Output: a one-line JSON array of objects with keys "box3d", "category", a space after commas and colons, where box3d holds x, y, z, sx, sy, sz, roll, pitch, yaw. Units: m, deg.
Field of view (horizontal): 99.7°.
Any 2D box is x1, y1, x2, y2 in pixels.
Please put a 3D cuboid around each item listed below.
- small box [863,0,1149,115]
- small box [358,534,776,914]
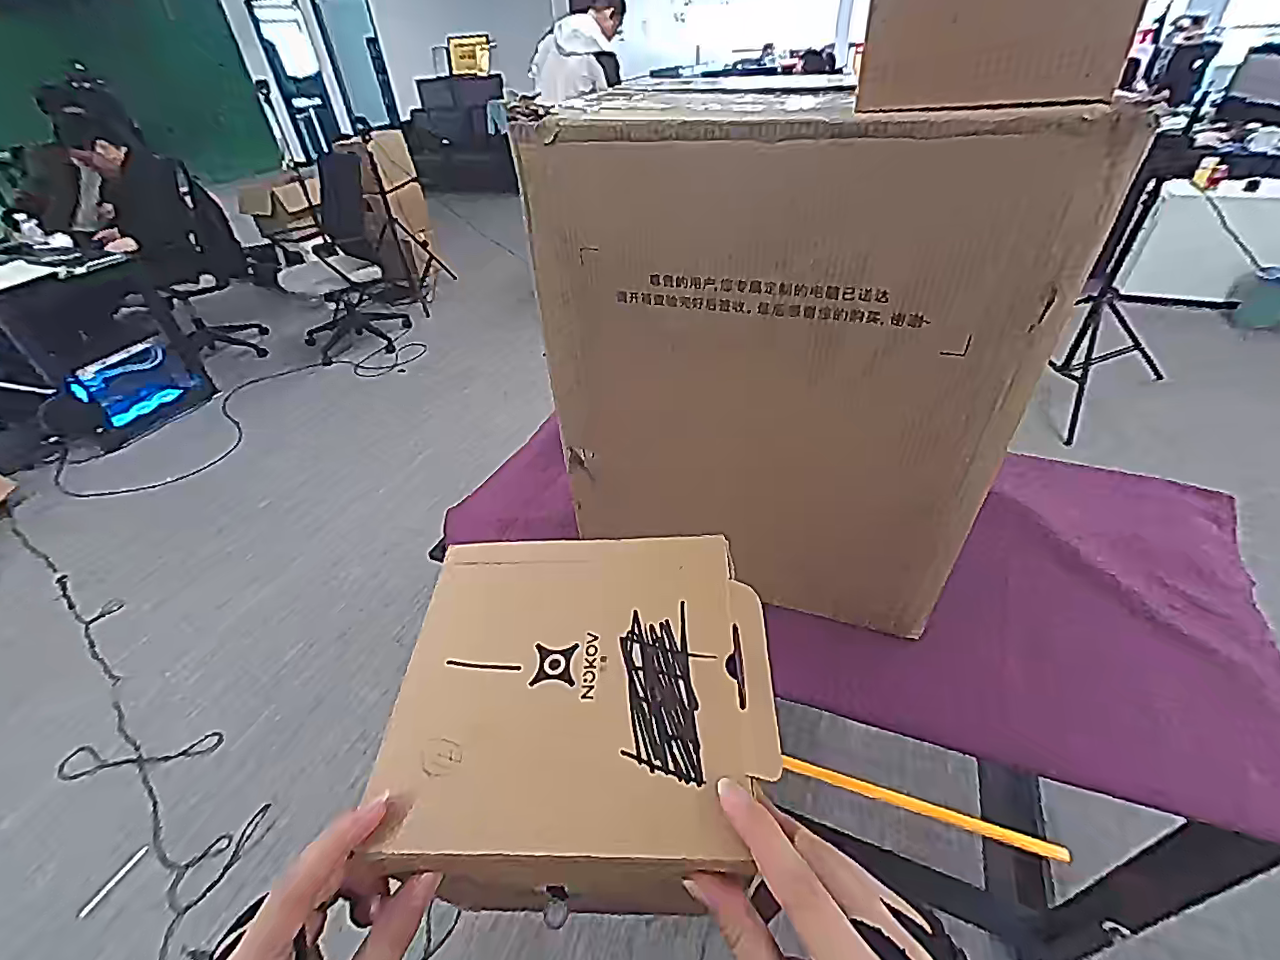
[{"box3d": [0.280, -0.392, 0.416, 0.179, 0.176, 0.168, 11, 42, 20], "category": "small box"}, {"box3d": [-0.024, 0.149, 0.331, 0.179, 0.176, 0.168, -2, 45, 4], "category": "small box"}]
